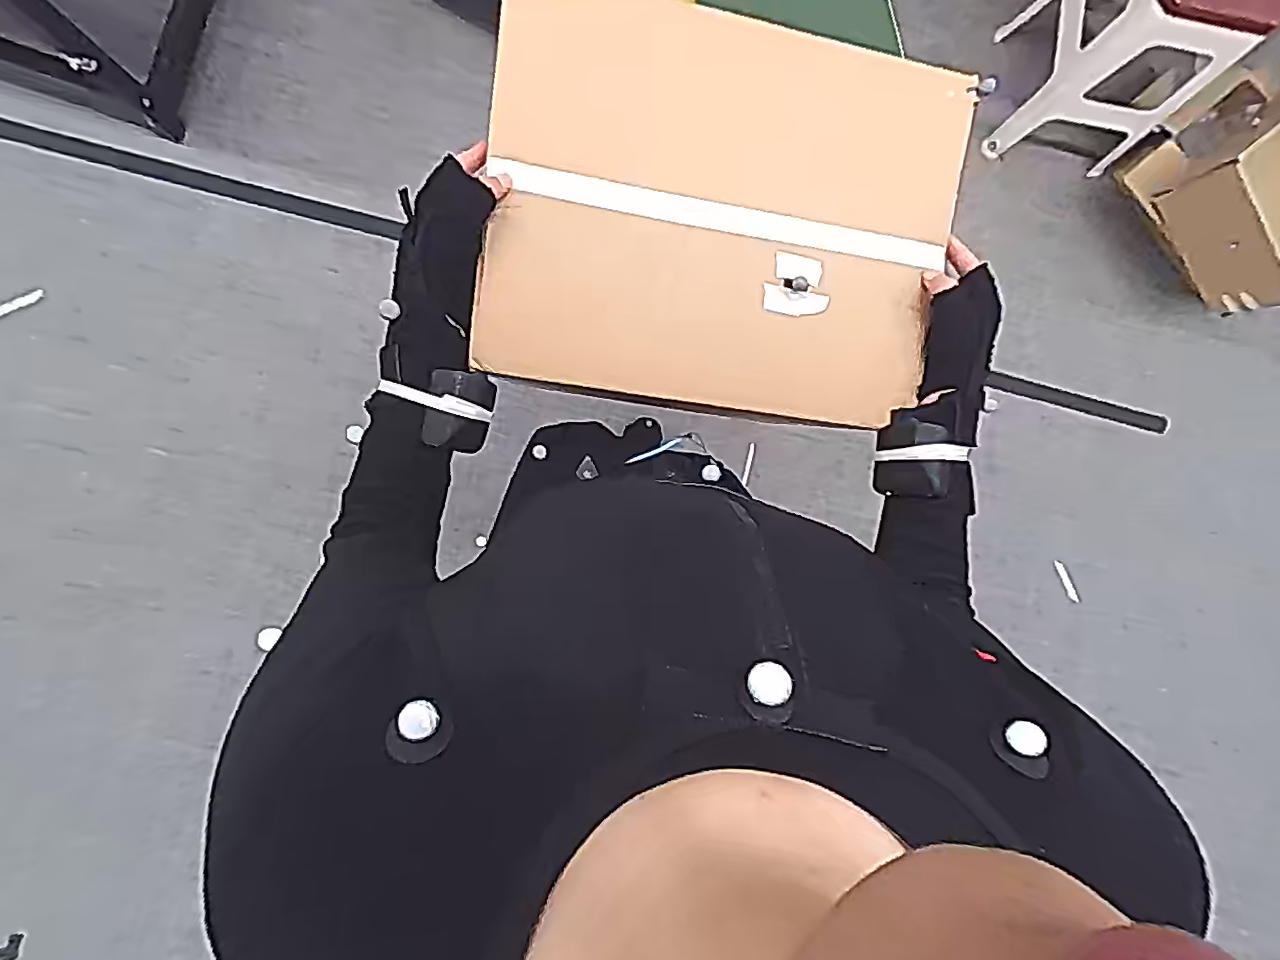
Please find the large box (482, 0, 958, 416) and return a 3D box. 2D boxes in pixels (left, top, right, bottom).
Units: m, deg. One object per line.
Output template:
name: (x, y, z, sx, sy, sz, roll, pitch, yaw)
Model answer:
large box: (0.052, -0.252, 0.619, 0.408, 0.320, 0.320, 6, 98, -9)
